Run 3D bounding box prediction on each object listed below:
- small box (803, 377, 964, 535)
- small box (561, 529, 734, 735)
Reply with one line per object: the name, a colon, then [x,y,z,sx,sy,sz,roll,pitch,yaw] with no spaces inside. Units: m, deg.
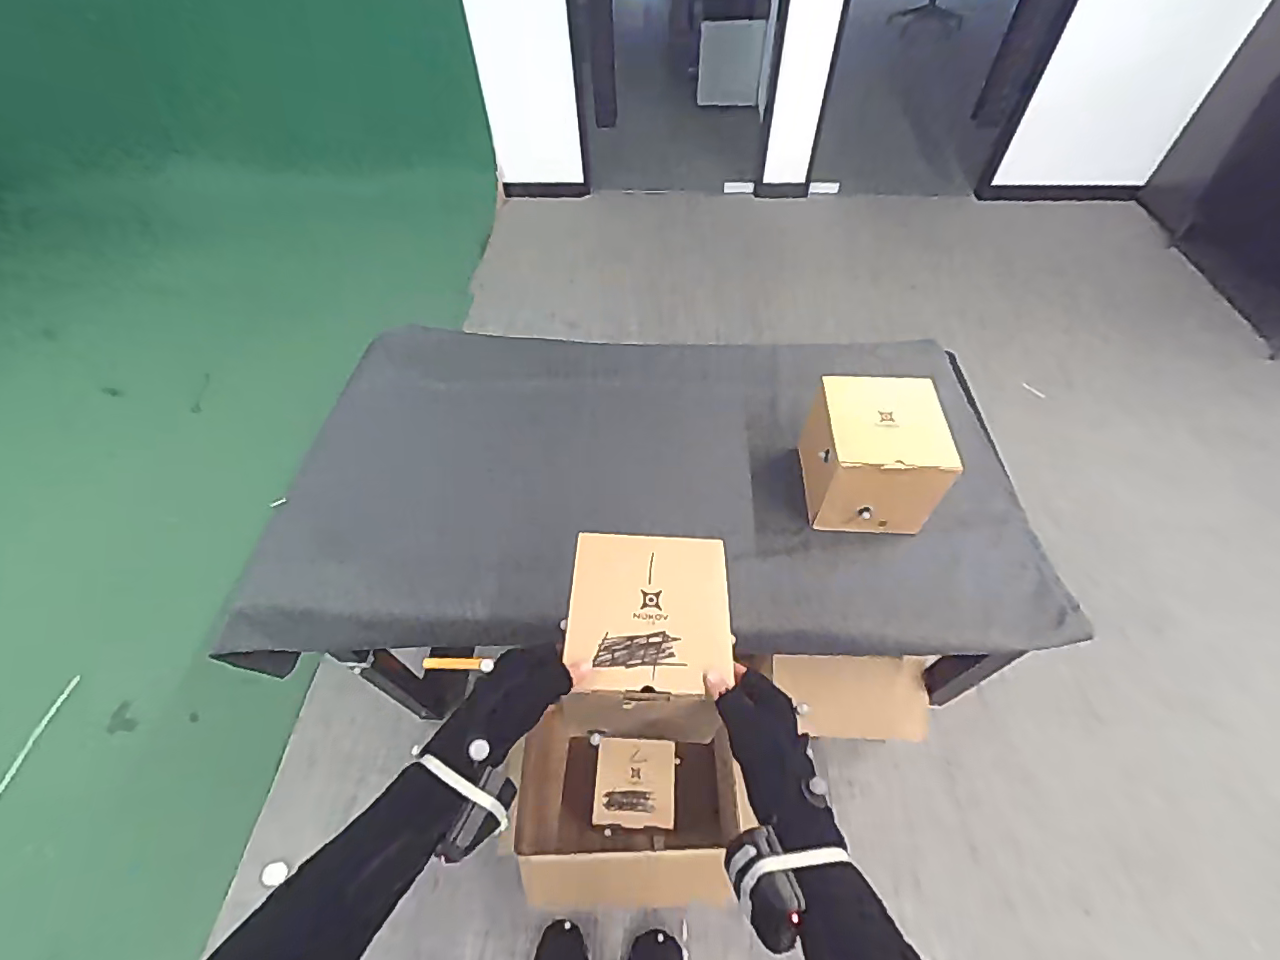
small box: [0.357,-0.036,0.835,0.168,0.176,0.179,2,53,3]
small box: [0.008,0.177,0.614,0.168,0.176,0.179,4,51,-1]
